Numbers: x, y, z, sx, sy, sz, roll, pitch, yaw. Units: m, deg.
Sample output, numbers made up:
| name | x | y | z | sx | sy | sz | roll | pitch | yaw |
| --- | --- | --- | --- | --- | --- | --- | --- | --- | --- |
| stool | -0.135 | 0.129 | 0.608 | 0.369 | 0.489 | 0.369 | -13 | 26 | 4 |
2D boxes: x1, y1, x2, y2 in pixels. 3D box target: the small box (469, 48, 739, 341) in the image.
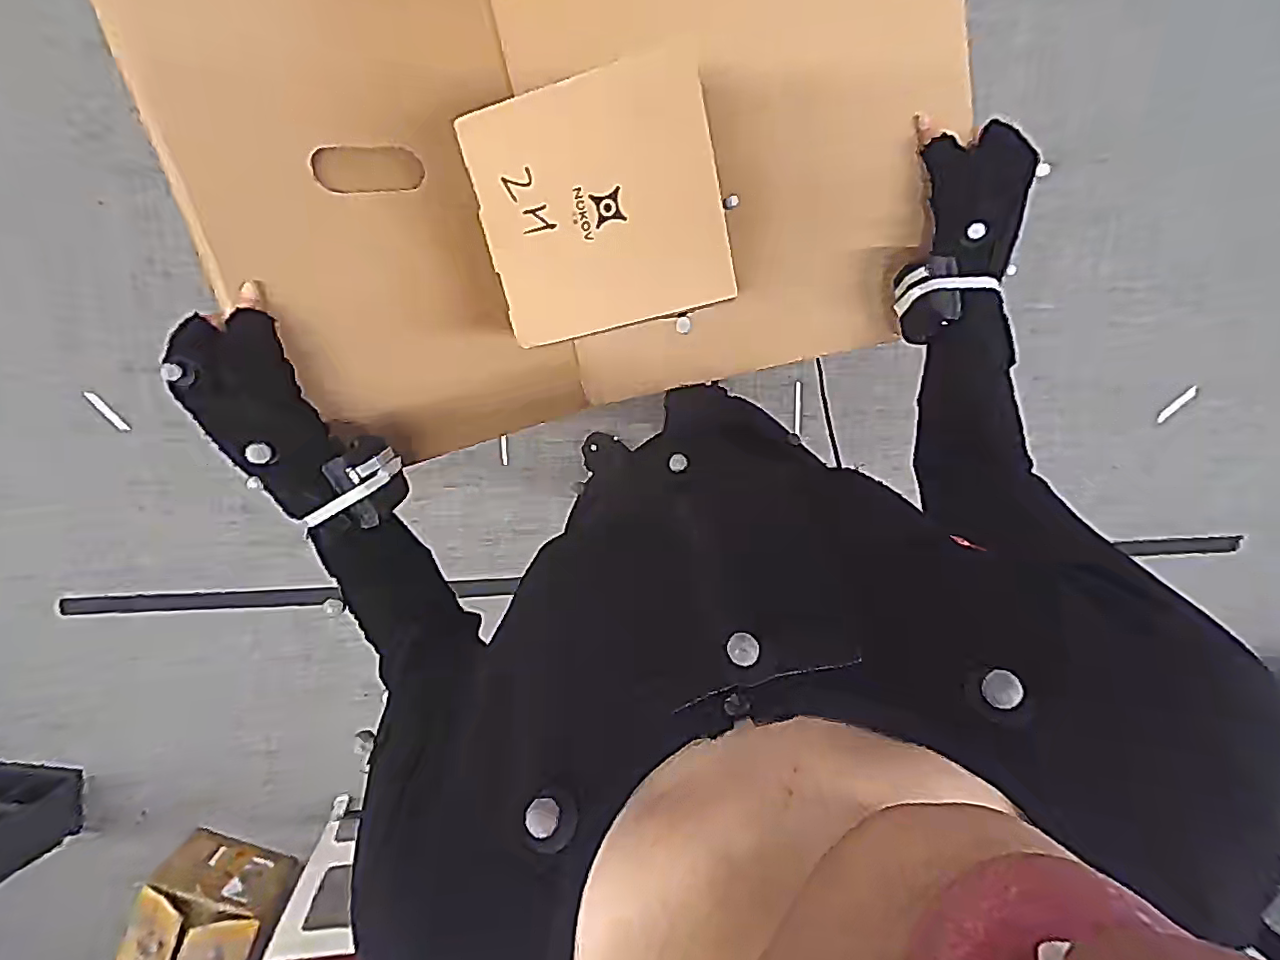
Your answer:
| name | x | y | z | sx | sy | sz | roll | pitch | yaw |
| --- | --- | --- | --- | --- | --- | --- | --- | --- | --- |
| small box | -0.015 | -0.224 | 0.472 | 0.179 | 0.176 | 0.168 | -9 | 105 | 12 |
